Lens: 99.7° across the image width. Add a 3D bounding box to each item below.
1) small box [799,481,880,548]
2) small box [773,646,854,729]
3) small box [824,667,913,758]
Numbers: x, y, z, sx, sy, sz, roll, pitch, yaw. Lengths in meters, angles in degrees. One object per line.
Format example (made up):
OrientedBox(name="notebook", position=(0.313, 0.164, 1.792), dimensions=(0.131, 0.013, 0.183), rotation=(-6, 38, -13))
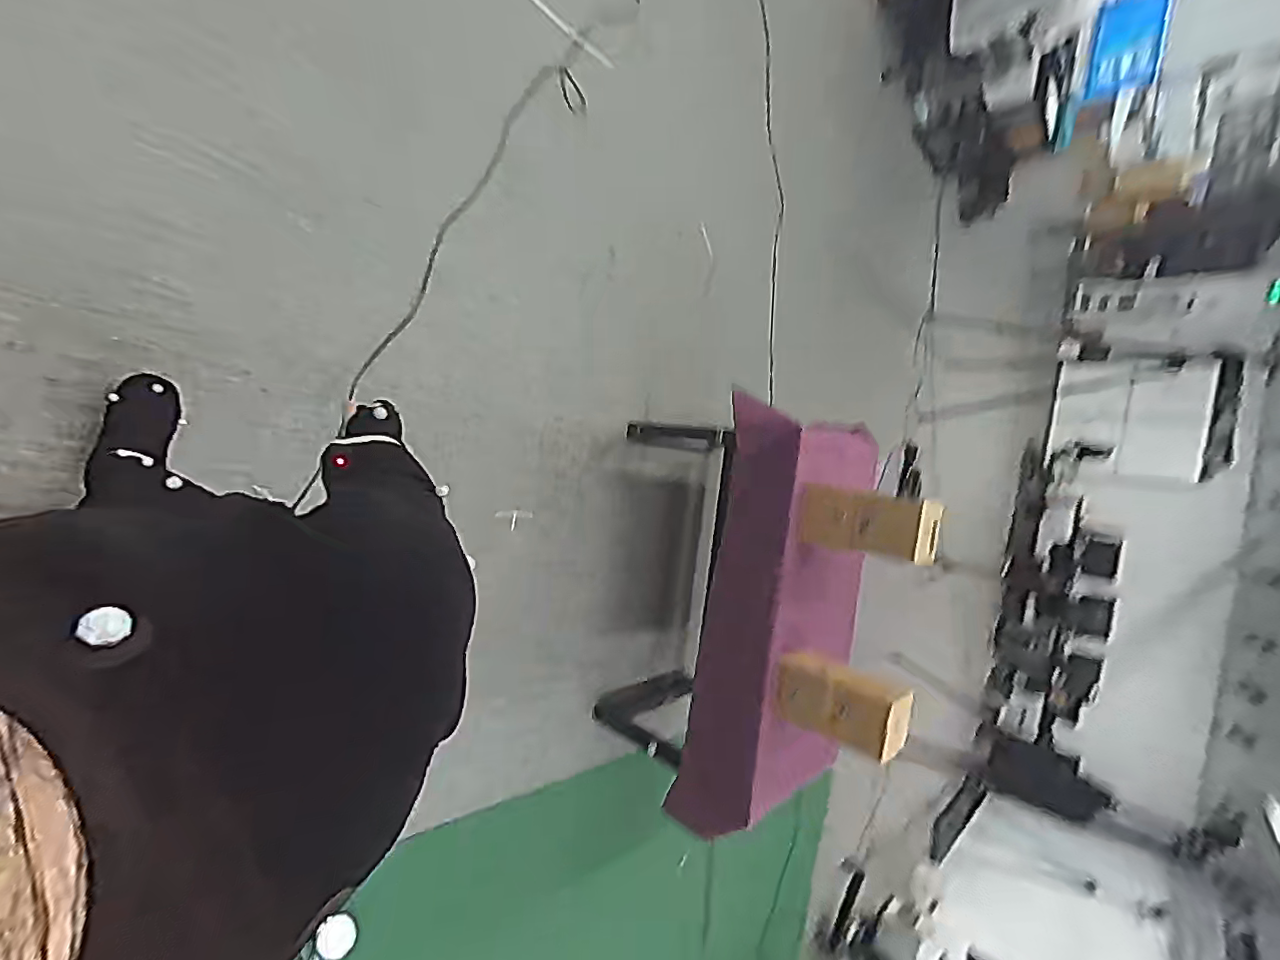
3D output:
OrientedBox(name="small box", position=(0.591, 0.098, 1.610), dimensions=(0.168, 0.176, 0.179), rotation=(5, 94, -46))
OrientedBox(name="small box", position=(0.520, 0.617, 1.628), dimensions=(0.179, 0.176, 0.168), rotation=(6, 93, -46))
OrientedBox(name="small box", position=(0.640, 0.643, 1.521), dimensions=(0.179, 0.176, 0.168), rotation=(6, 92, -45))
